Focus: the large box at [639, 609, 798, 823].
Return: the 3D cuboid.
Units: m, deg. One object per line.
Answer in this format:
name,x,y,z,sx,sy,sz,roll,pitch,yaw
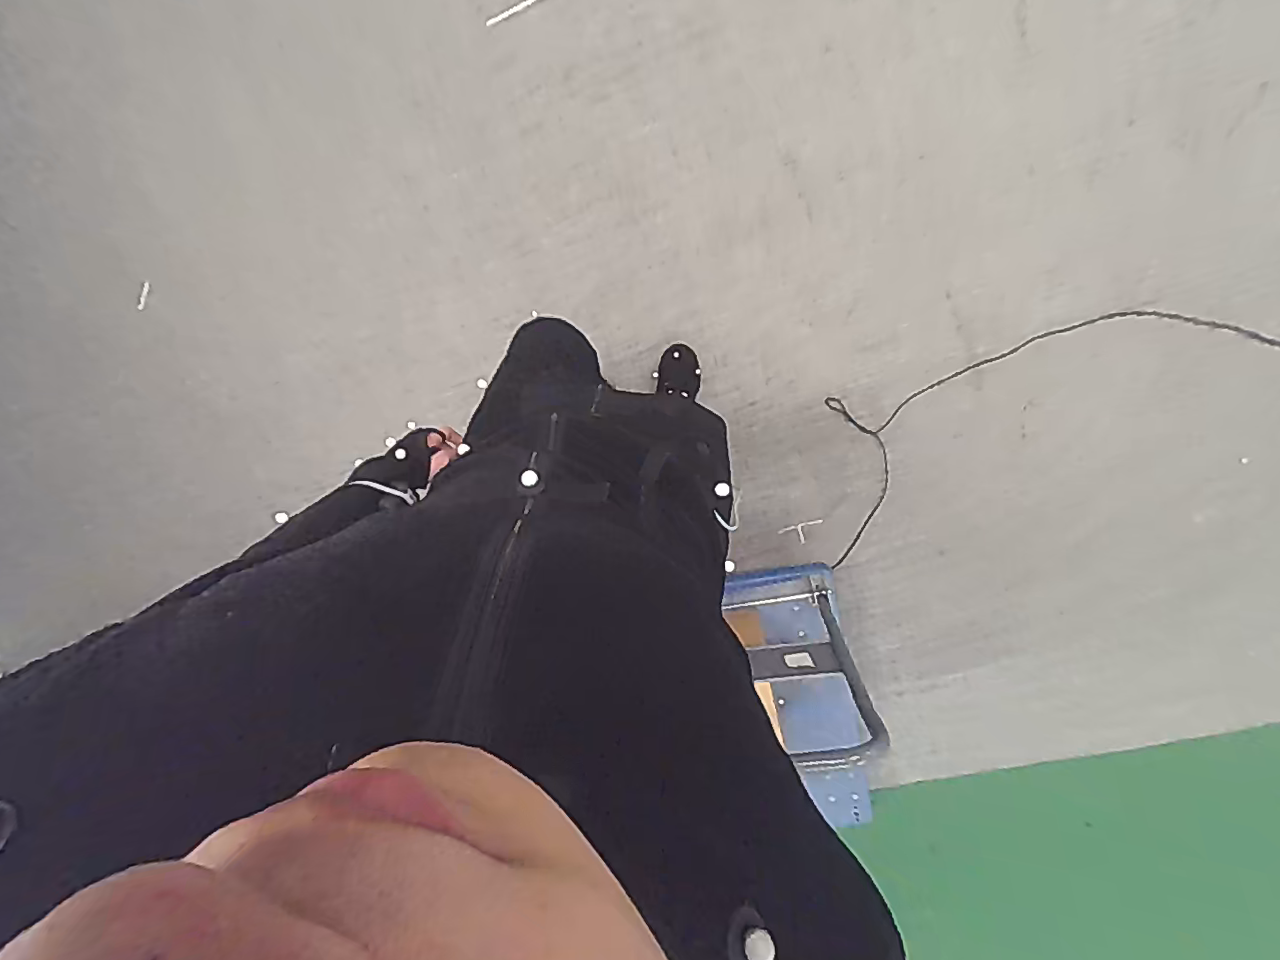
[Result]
large box,0.207,0.615,1.447,0.320,0.320,0.408,-12,104,10
